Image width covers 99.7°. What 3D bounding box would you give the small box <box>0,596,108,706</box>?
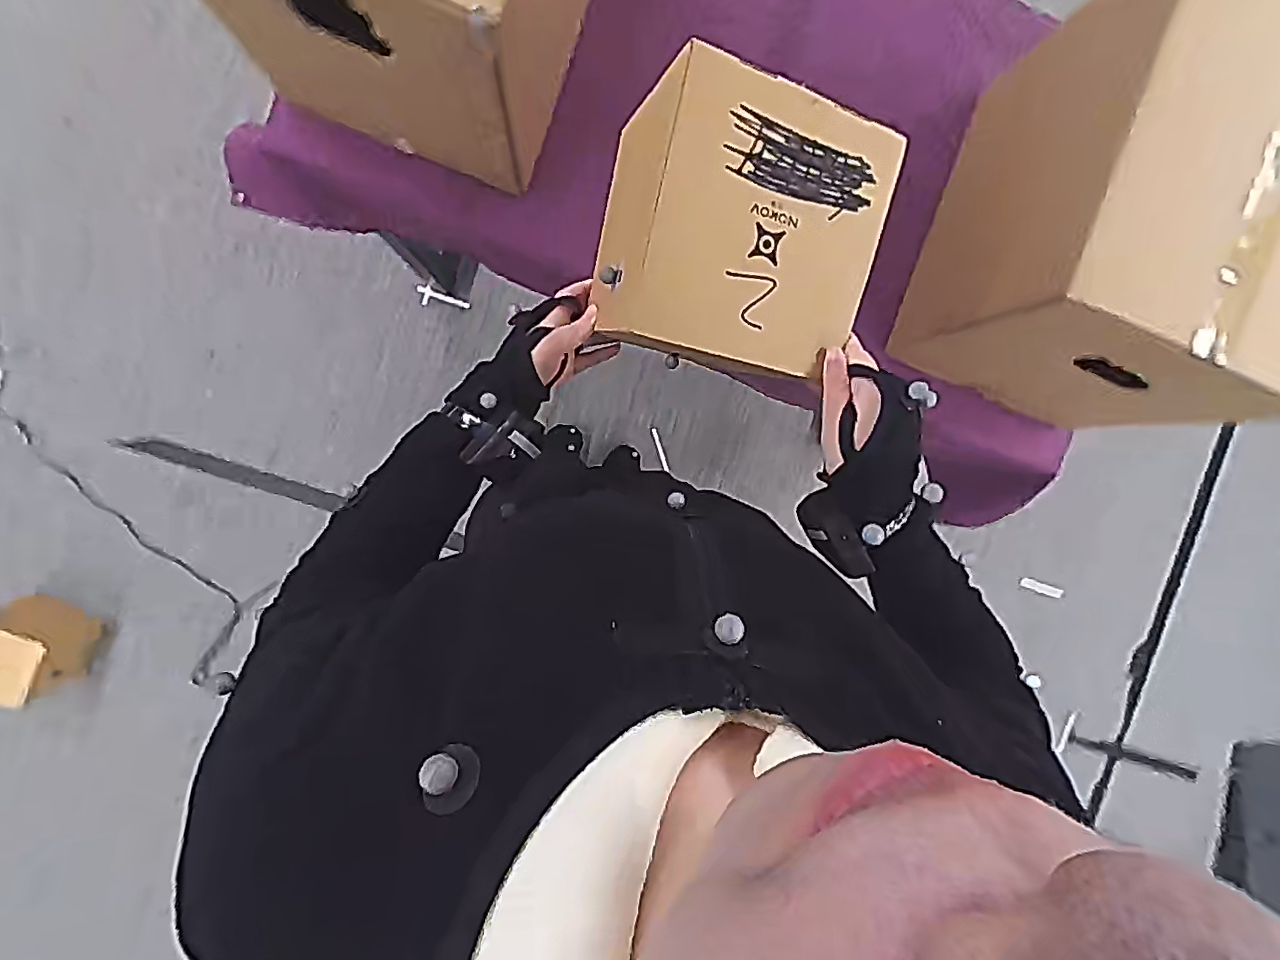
[{"bbox_3d":[-1.443,0.395,1.283,0.179,0.176,0.168,25,92,-8],"label":"small box"}]
